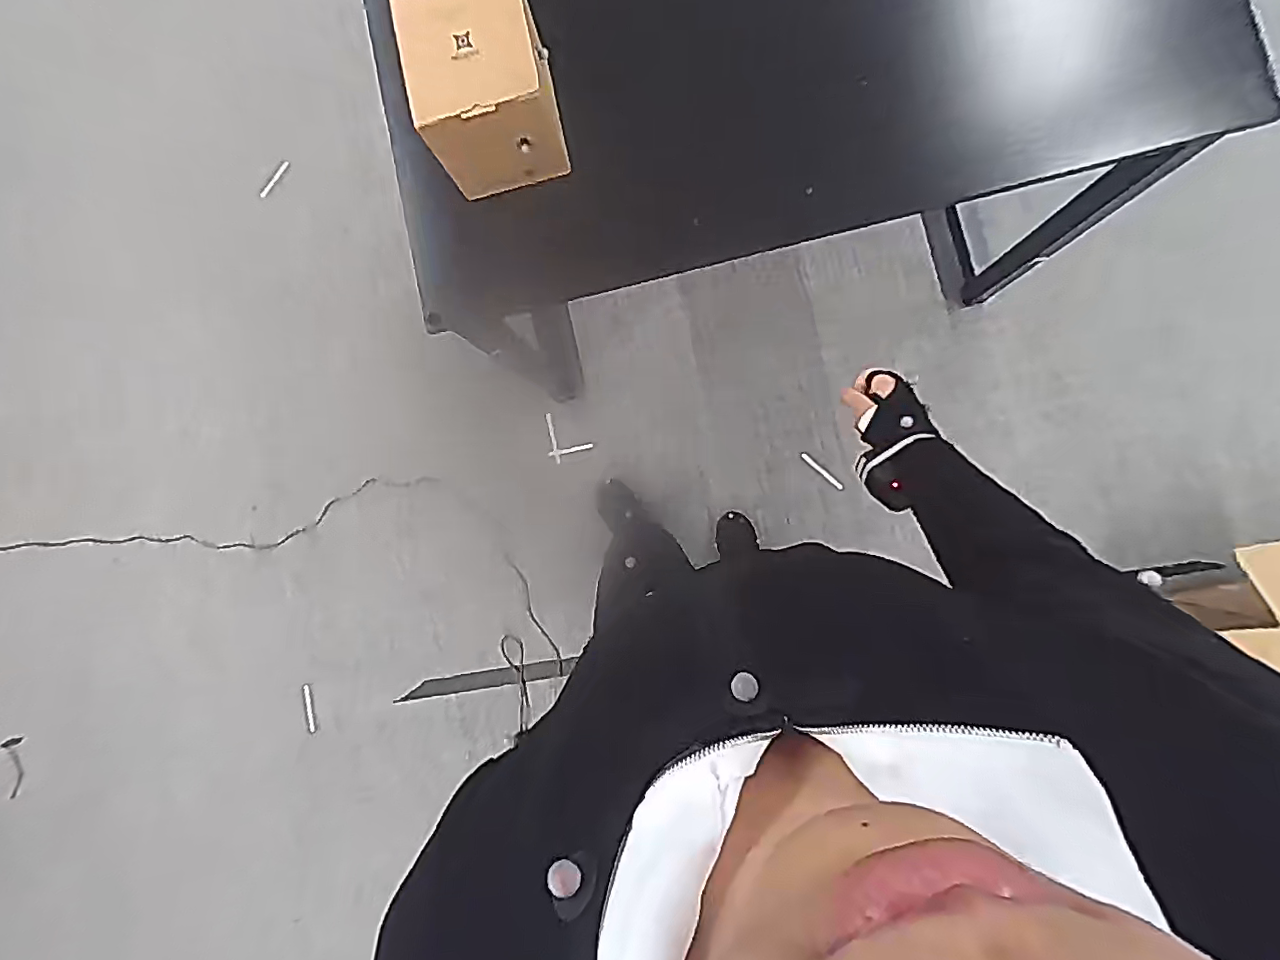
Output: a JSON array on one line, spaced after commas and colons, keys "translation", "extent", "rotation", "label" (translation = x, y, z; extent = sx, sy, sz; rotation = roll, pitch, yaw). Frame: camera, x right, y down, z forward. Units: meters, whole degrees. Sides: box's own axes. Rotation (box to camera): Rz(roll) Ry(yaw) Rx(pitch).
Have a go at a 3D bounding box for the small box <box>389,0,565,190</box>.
[{"translation": [-0.211, -0.531, 0.745], "extent": [0.168, 0.176, 0.179], "rotation": [-13, 86, 4], "label": "small box"}]
